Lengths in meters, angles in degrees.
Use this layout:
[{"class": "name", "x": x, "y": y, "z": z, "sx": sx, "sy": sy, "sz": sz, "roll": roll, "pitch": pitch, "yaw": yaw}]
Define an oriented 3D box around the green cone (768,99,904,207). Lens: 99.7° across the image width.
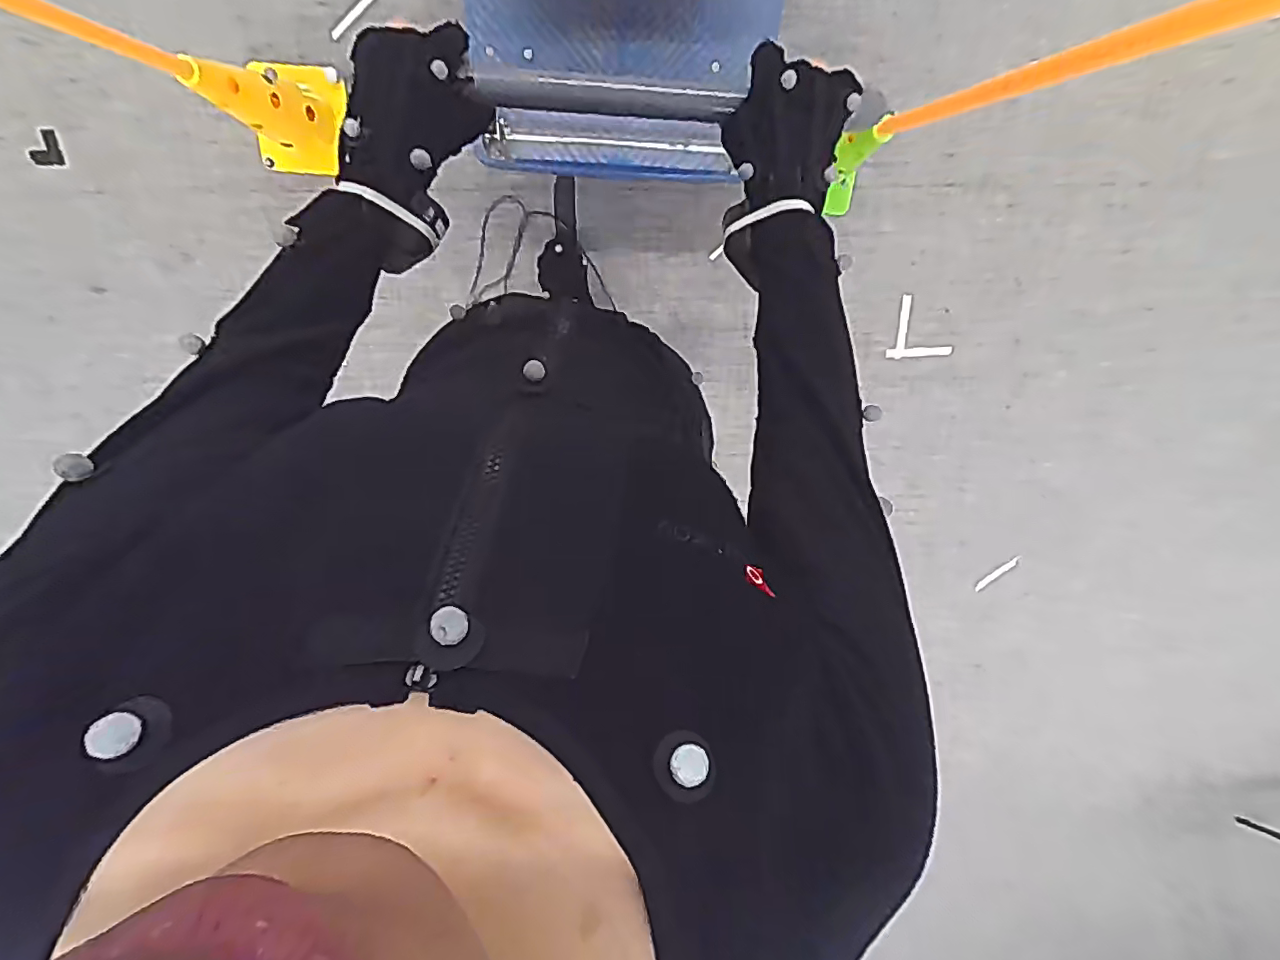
[{"class": "green cone", "x": 0.409, "y": -0.672, "z": 1.072, "sx": 0.202, "sy": 0.368, "sz": 0.200, "roll": 3, "pitch": 113, "yaw": -5}]
